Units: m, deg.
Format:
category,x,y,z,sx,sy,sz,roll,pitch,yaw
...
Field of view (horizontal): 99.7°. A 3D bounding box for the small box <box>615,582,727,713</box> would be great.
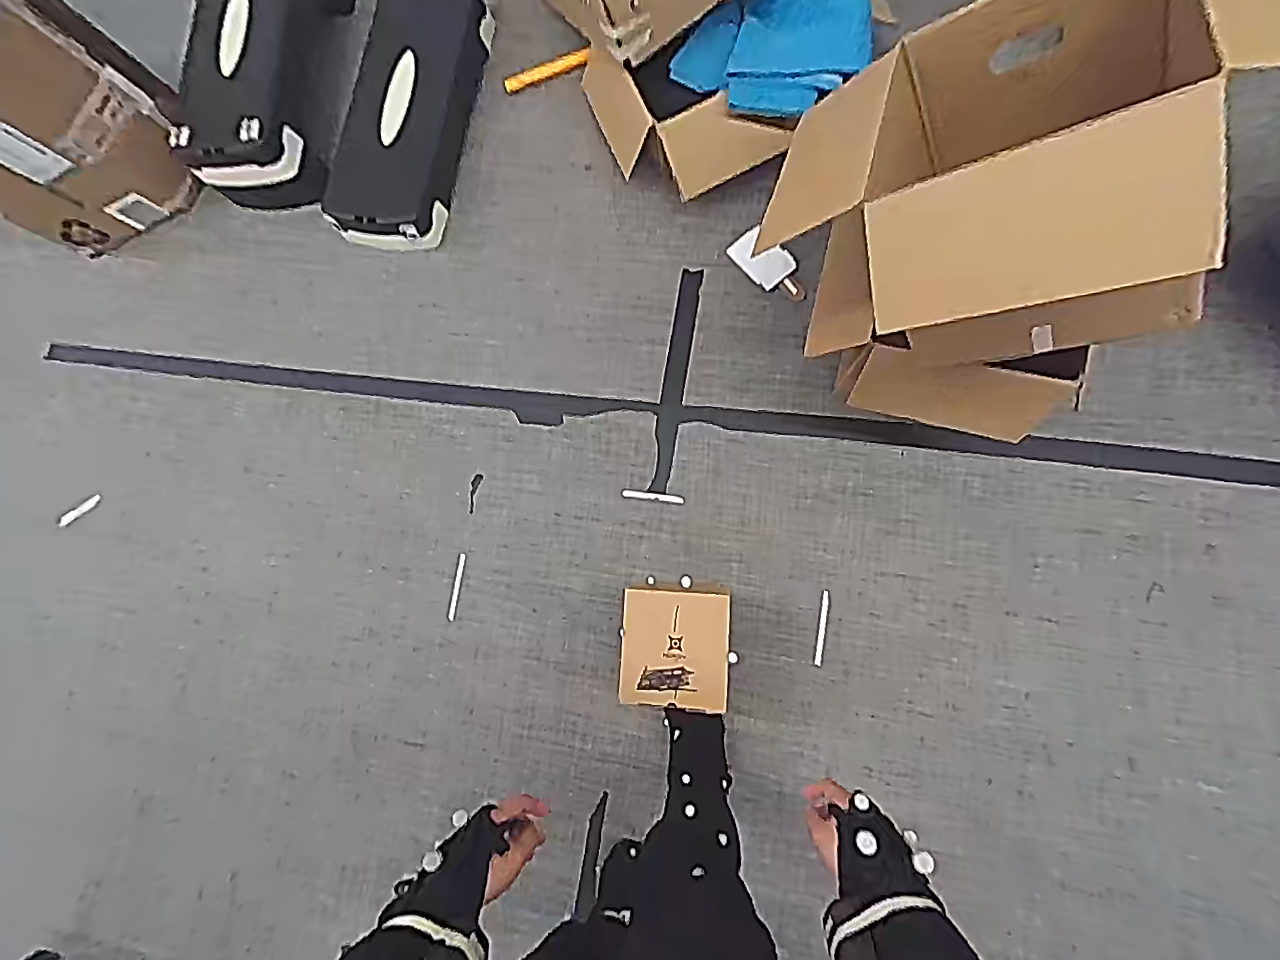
category,x,y,z,sx,sy,sz,roll,pitch,yaw
small box,0.059,0.269,0.905,0.168,0.176,0.179,2,82,9
